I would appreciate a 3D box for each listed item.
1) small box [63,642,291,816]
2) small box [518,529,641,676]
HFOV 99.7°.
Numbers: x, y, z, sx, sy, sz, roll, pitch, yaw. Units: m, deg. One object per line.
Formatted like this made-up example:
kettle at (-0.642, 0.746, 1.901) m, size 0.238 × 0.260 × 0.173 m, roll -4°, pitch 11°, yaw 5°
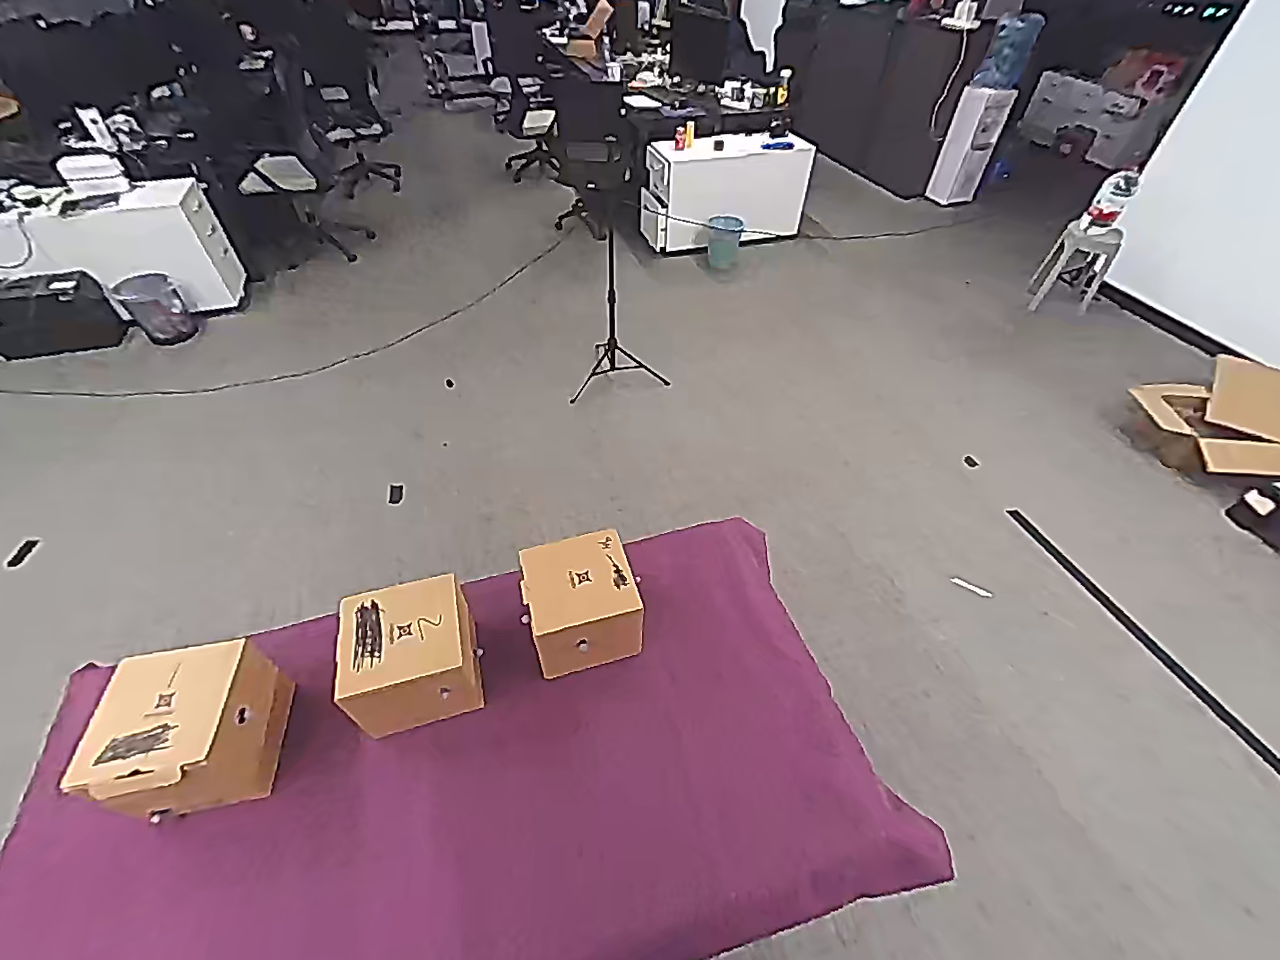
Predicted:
small box at (-0.640, 0.363, 0.781) m, size 0.168 × 0.176 × 0.179 m, roll -8°, pitch 47°, yaw -9°
small box at (-0.100, 0.214, 0.932) m, size 0.179 × 0.176 × 0.168 m, roll -13°, pitch 50°, yaw -11°
